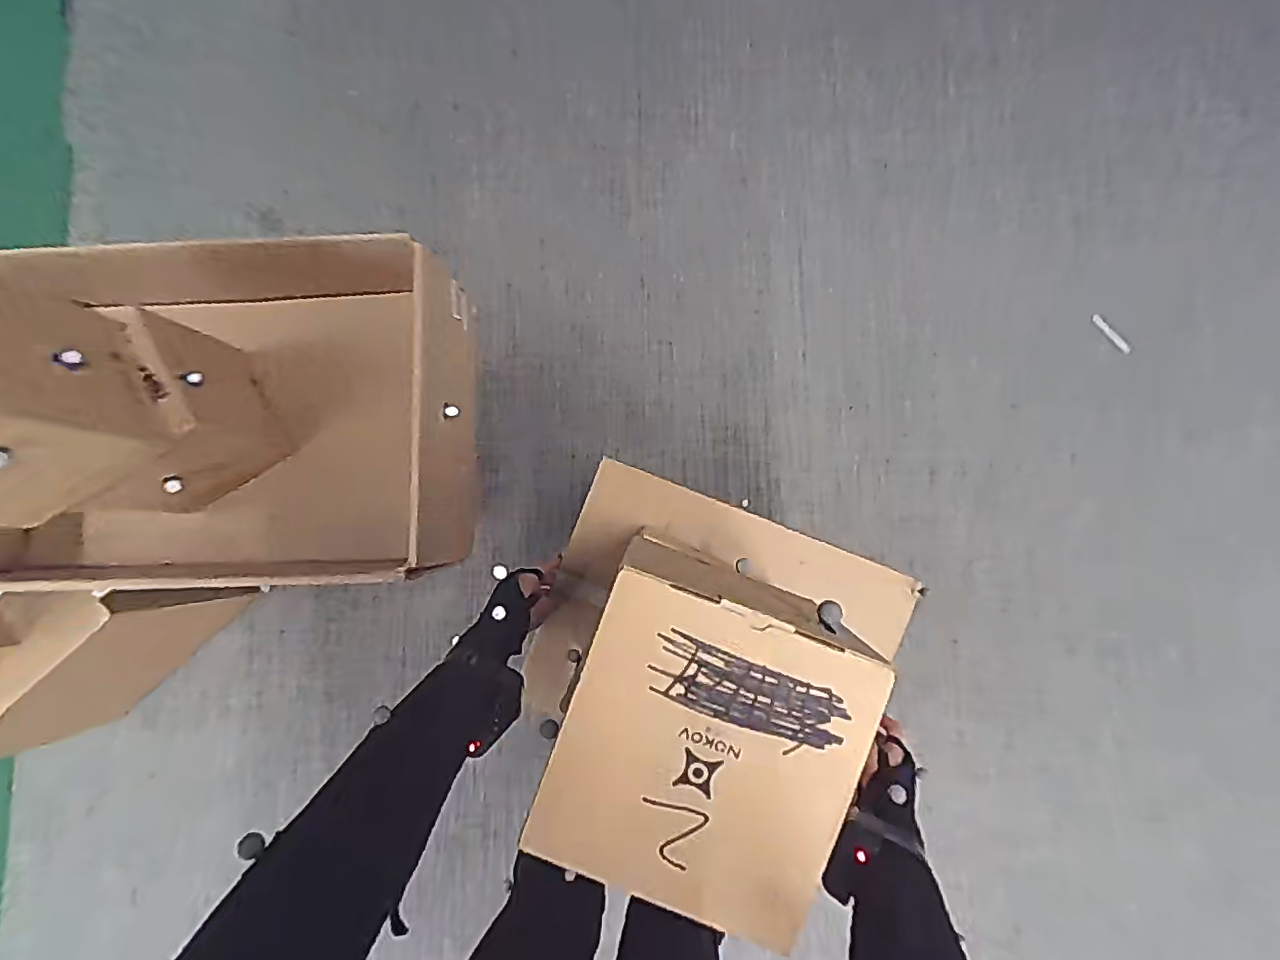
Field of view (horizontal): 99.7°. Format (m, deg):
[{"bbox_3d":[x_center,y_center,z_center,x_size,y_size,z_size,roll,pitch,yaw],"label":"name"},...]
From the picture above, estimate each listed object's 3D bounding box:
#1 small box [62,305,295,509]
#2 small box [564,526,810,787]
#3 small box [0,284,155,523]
[{"bbox_3d":[-0.581,-0.073,0.662,0.179,0.176,0.168,-31,85,0],"label":"small box"},{"bbox_3d":[0.042,0.157,0.552,0.168,0.176,0.179,26,90,3],"label":"small box"},{"bbox_3d":[-0.607,-0.071,0.498,0.179,0.176,0.168,-30,83,0],"label":"small box"}]
